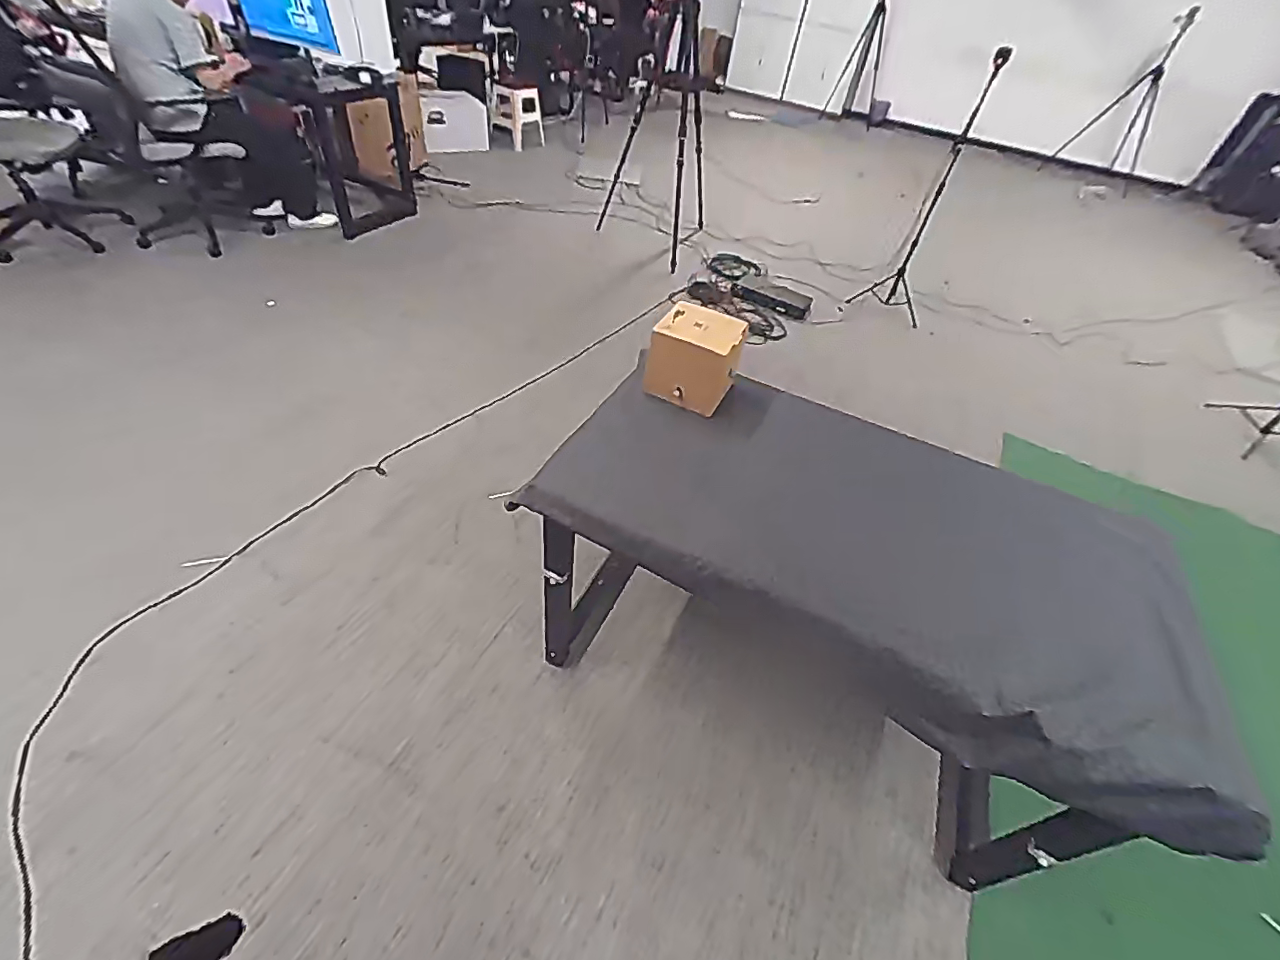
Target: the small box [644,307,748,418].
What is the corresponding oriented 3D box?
[{"bbox_3d":[0.126,-0.269,1.258,0.179,0.176,0.168,24,46,13],"label":"small box"}]
